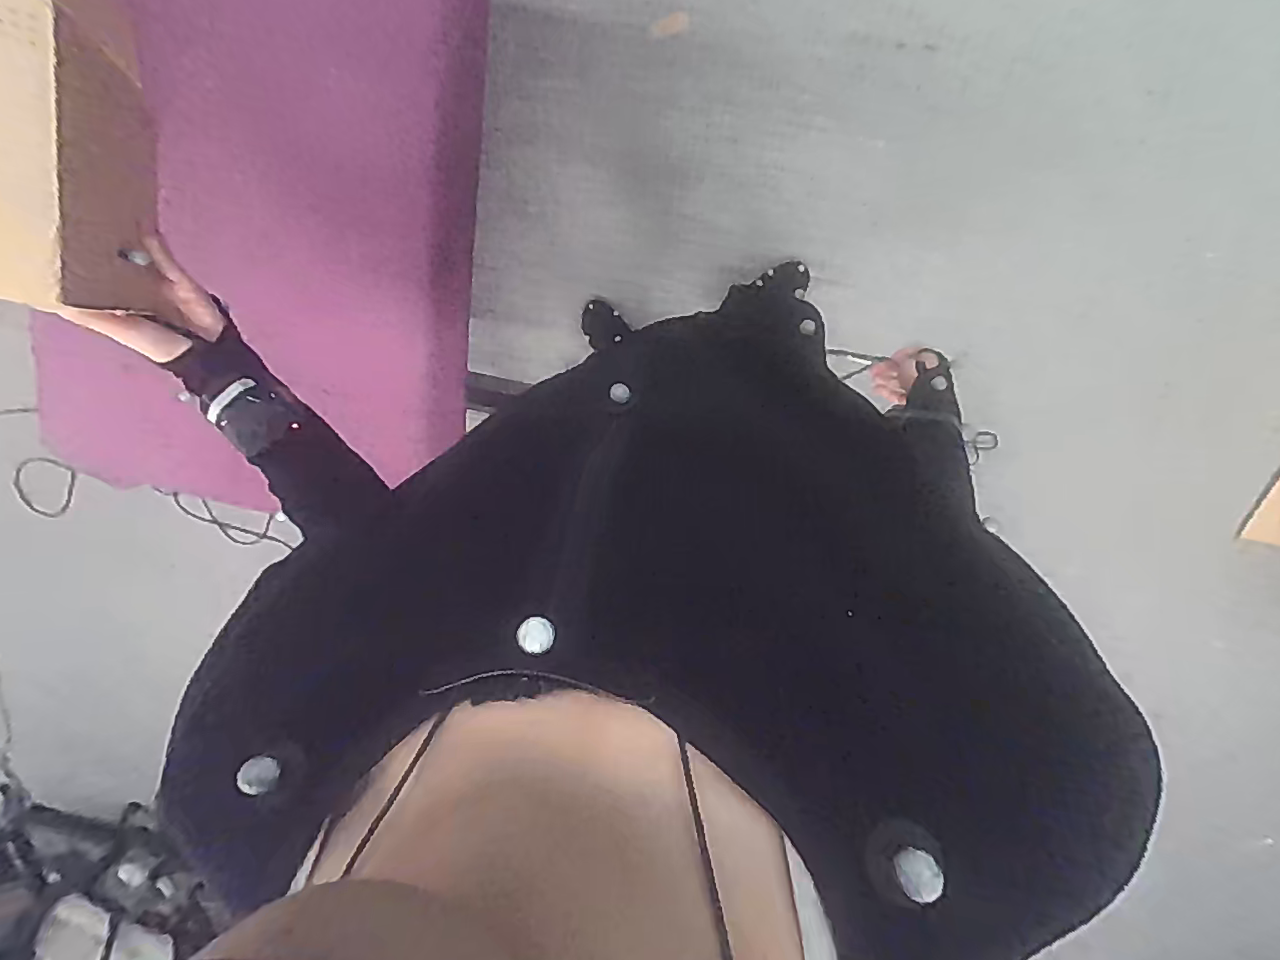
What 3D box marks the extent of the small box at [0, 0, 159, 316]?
[{"bbox_3d":[-0.424,-0.207,0.333,0.168,0.179,0.176,4,103,-29],"label":"small box"}]
